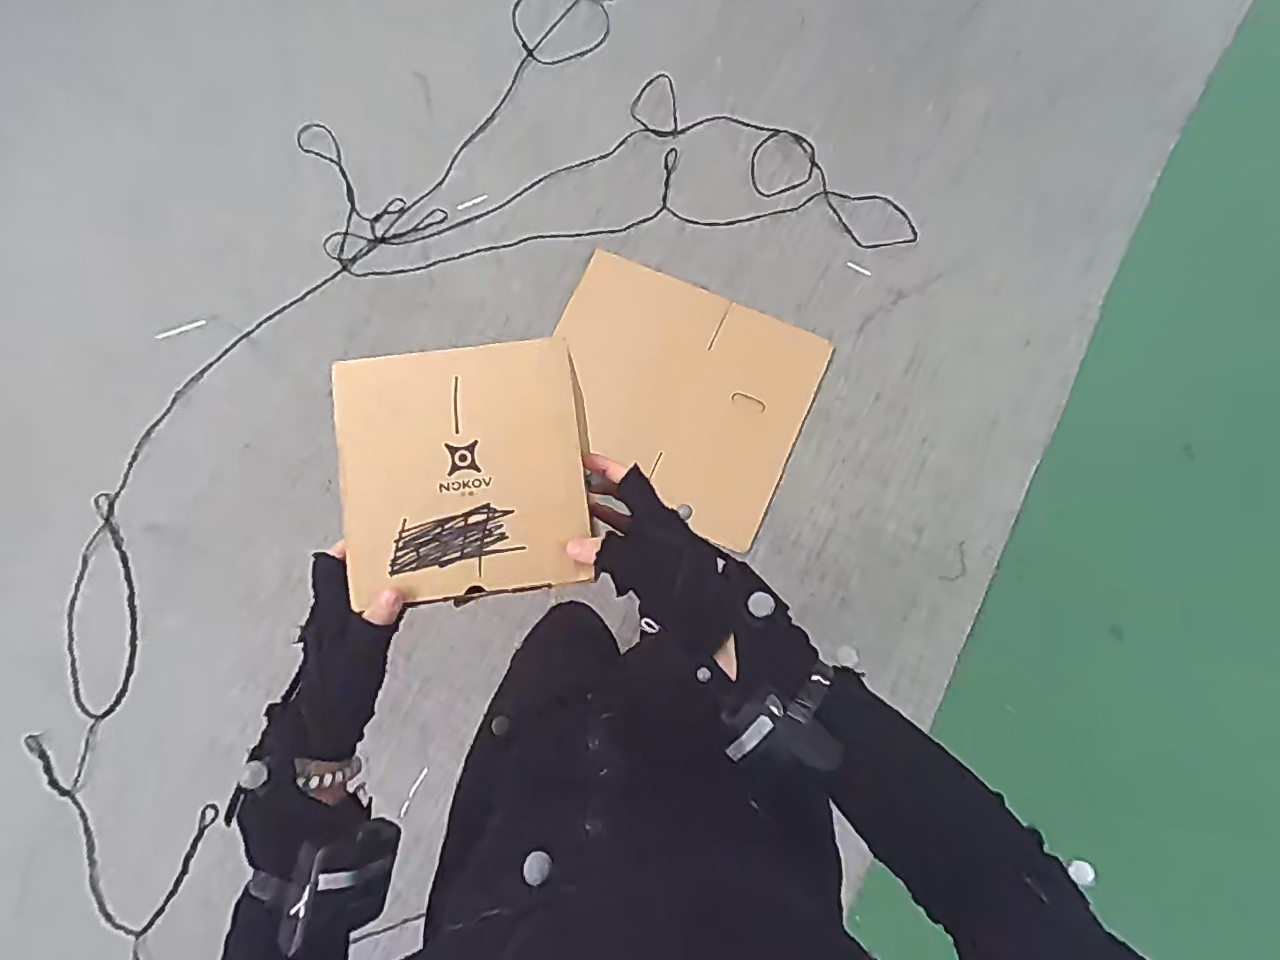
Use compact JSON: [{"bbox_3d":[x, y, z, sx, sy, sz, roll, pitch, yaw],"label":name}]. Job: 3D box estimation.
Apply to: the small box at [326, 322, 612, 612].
[{"bbox_3d":[-0.122,-0.005,0.454,0.168,0.176,0.179,-13,85,0],"label":"small box"}]
